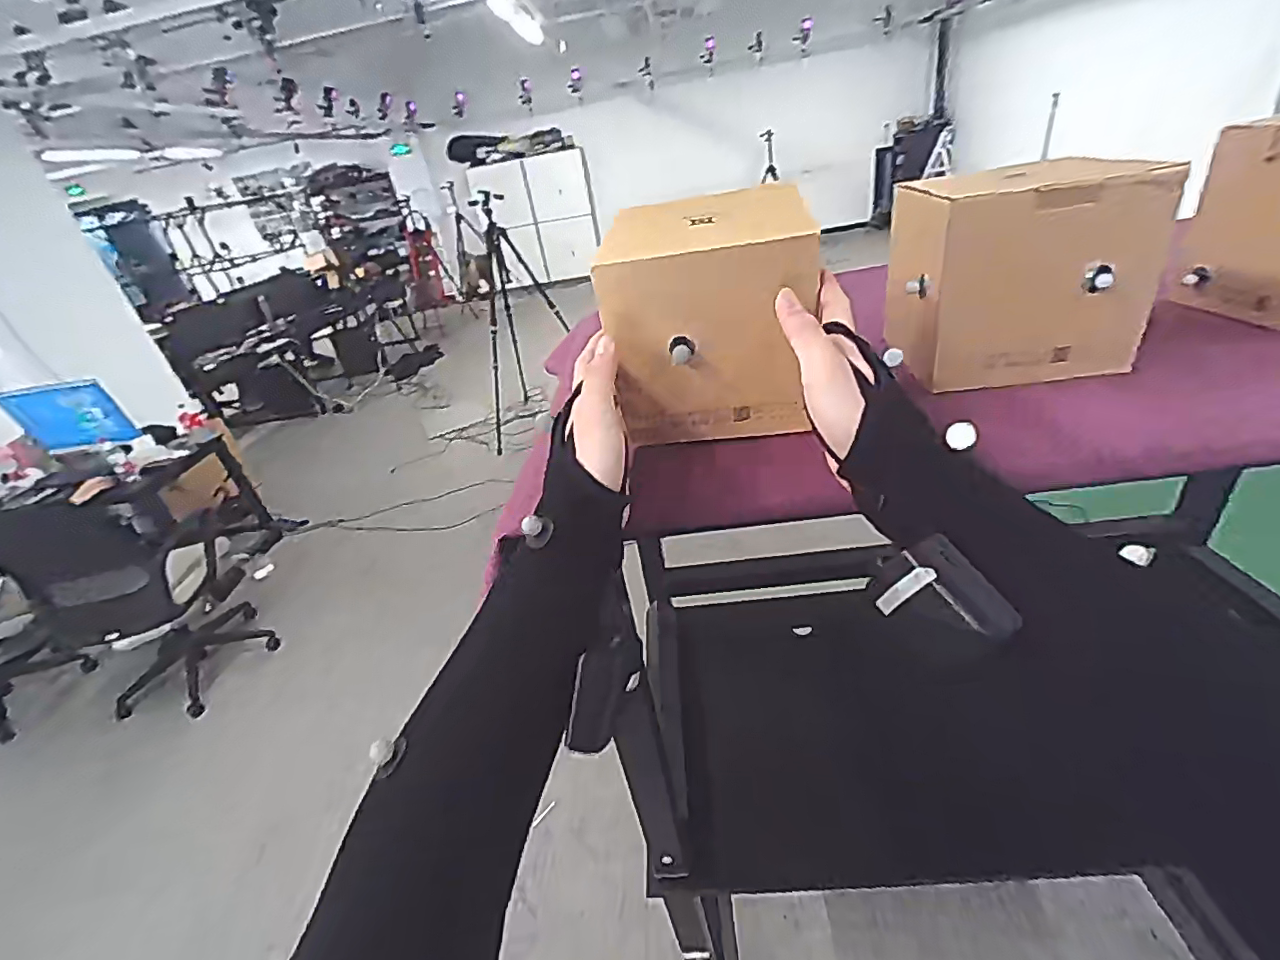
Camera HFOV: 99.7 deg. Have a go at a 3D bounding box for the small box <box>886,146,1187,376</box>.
[{"bbox_3d":[0.346,-0.205,0.519,0.168,0.176,0.179,-4,32,11],"label":"small box"}]

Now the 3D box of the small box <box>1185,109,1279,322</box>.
[{"bbox_3d":[0.654,-0.245,0.483,0.179,0.176,0.168,-7,31,5],"label":"small box"}]

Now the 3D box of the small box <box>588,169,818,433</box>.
[{"bbox_3d":[0.064,-0.154,0.486,0.168,0.176,0.179,-4,39,11],"label":"small box"}]
